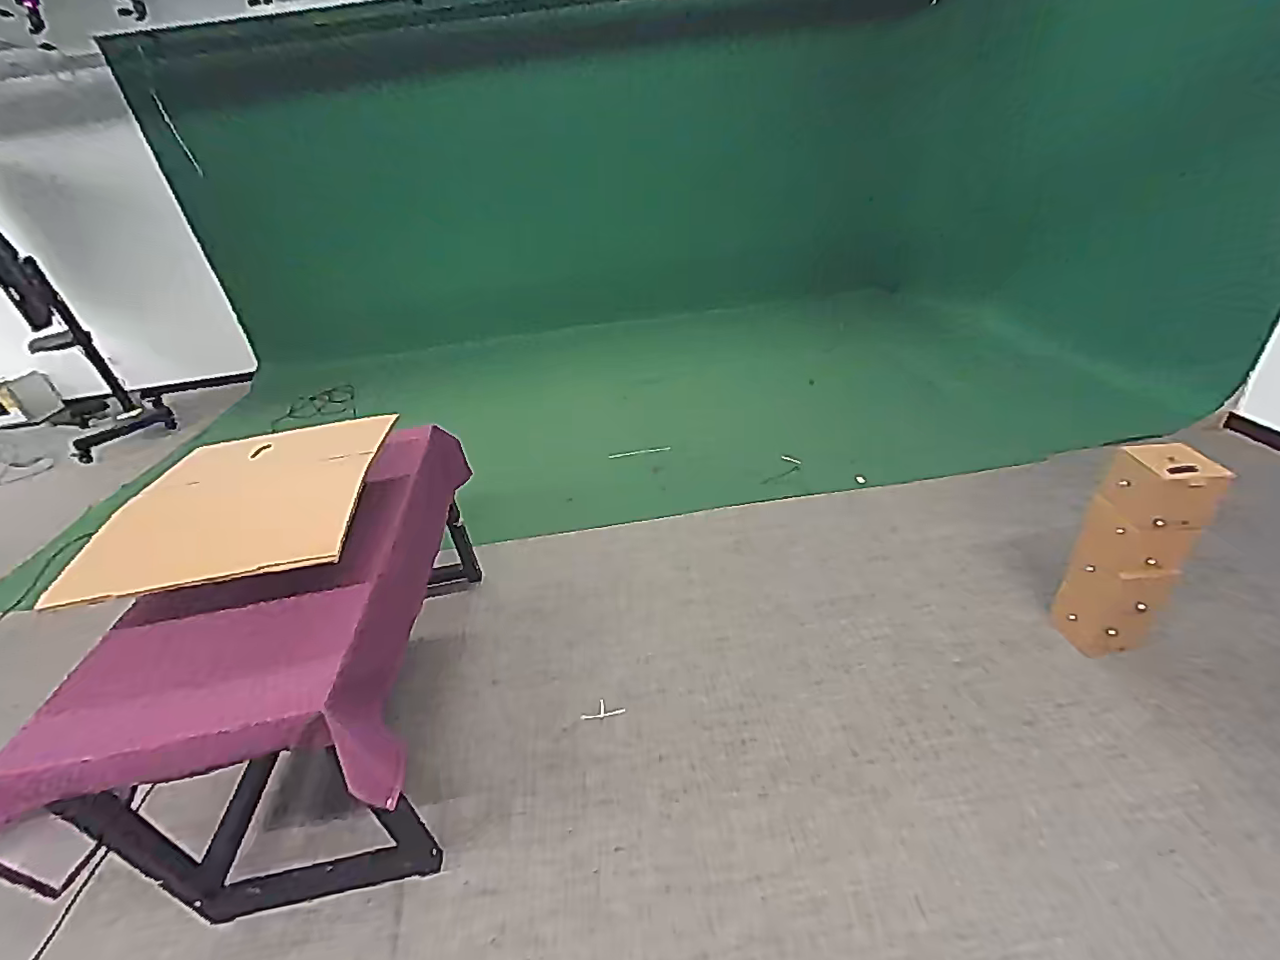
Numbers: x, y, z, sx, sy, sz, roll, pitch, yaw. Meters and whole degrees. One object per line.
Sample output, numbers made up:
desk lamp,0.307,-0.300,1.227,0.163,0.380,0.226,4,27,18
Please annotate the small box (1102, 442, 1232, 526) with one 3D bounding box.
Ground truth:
small box,1.429,0.015,1.481,0.168,0.176,0.179,-4,31,6

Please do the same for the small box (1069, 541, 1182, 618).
small box,1.465,0.294,1.647,0.168,0.176,0.179,-8,32,2

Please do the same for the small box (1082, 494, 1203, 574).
small box,1.444,0.151,1.571,0.168,0.176,0.179,-5,33,5
